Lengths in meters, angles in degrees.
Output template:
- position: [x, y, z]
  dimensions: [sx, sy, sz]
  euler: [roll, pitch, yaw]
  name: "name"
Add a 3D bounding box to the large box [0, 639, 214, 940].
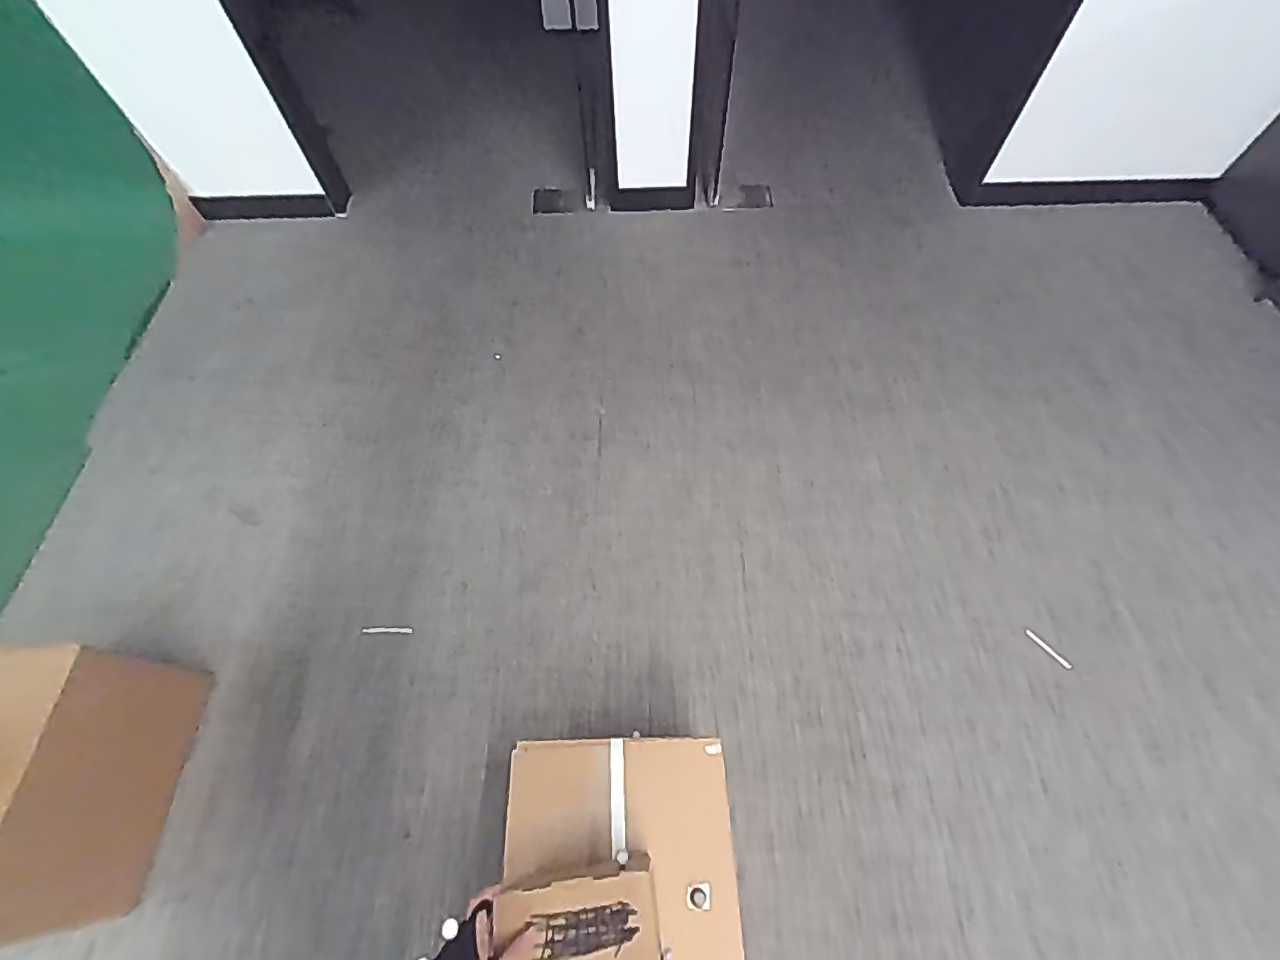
- position: [-1.038, 0.513, 0.914]
  dimensions: [0.320, 0.320, 0.408]
  euler: [-2, 60, 0]
  name: "large box"
